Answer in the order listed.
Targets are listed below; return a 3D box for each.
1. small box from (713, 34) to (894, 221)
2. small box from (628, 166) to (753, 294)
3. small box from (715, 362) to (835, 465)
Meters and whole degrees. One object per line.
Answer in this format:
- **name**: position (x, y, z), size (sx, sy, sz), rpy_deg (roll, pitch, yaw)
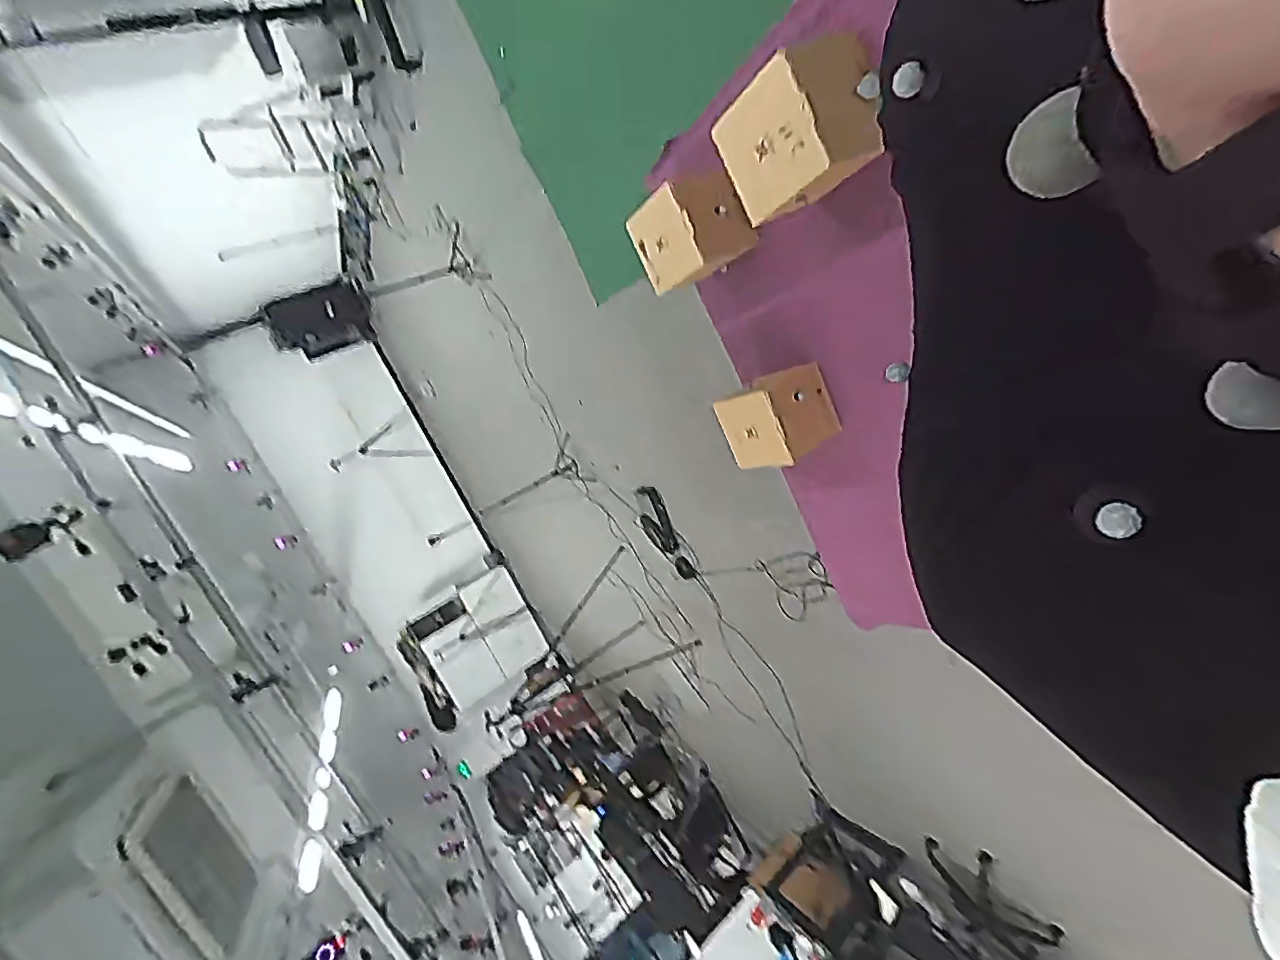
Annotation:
- **small box**: position (0.254, -0.544, 0.846), size (0.168, 0.176, 0.179), rpy_deg (62, 155, -10)
- **small box**: position (0.111, -0.520, 1.127), size (0.179, 0.176, 0.168), rpy_deg (-8, 111, 59)
- **small box**: position (0.304, -0.146, 1.195), size (0.179, 0.176, 0.168), rpy_deg (-3, 114, 61)
